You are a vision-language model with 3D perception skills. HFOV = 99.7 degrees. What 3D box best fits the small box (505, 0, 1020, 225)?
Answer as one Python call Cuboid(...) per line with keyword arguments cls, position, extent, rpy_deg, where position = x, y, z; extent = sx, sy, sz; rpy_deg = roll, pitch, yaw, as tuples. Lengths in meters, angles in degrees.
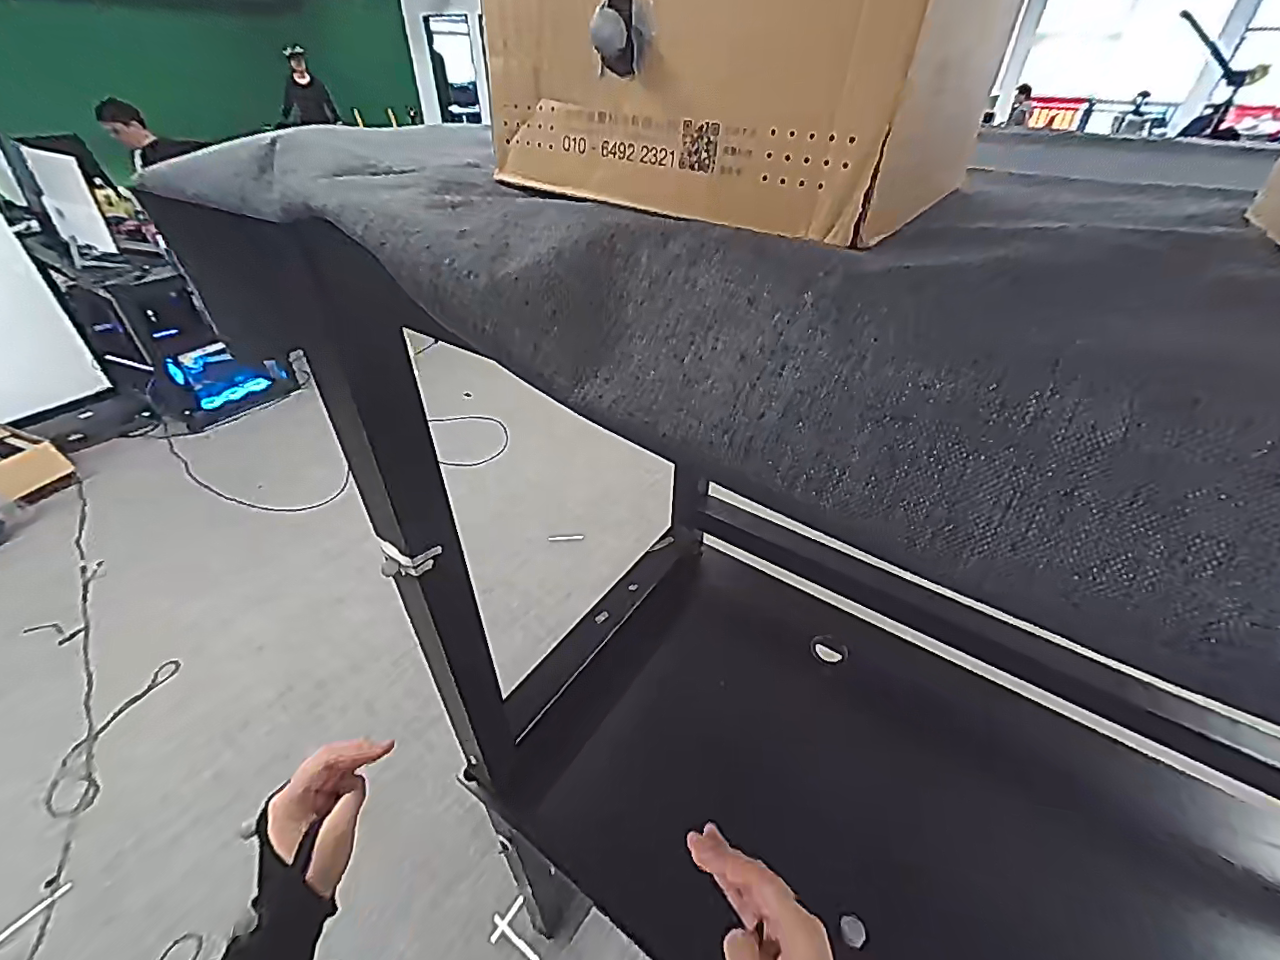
Cuboid(cls="small box", position=(0.057, -0.214, 0.213), extent=(0.168, 0.176, 0.179), rpy_deg=(24, 42, 25))
